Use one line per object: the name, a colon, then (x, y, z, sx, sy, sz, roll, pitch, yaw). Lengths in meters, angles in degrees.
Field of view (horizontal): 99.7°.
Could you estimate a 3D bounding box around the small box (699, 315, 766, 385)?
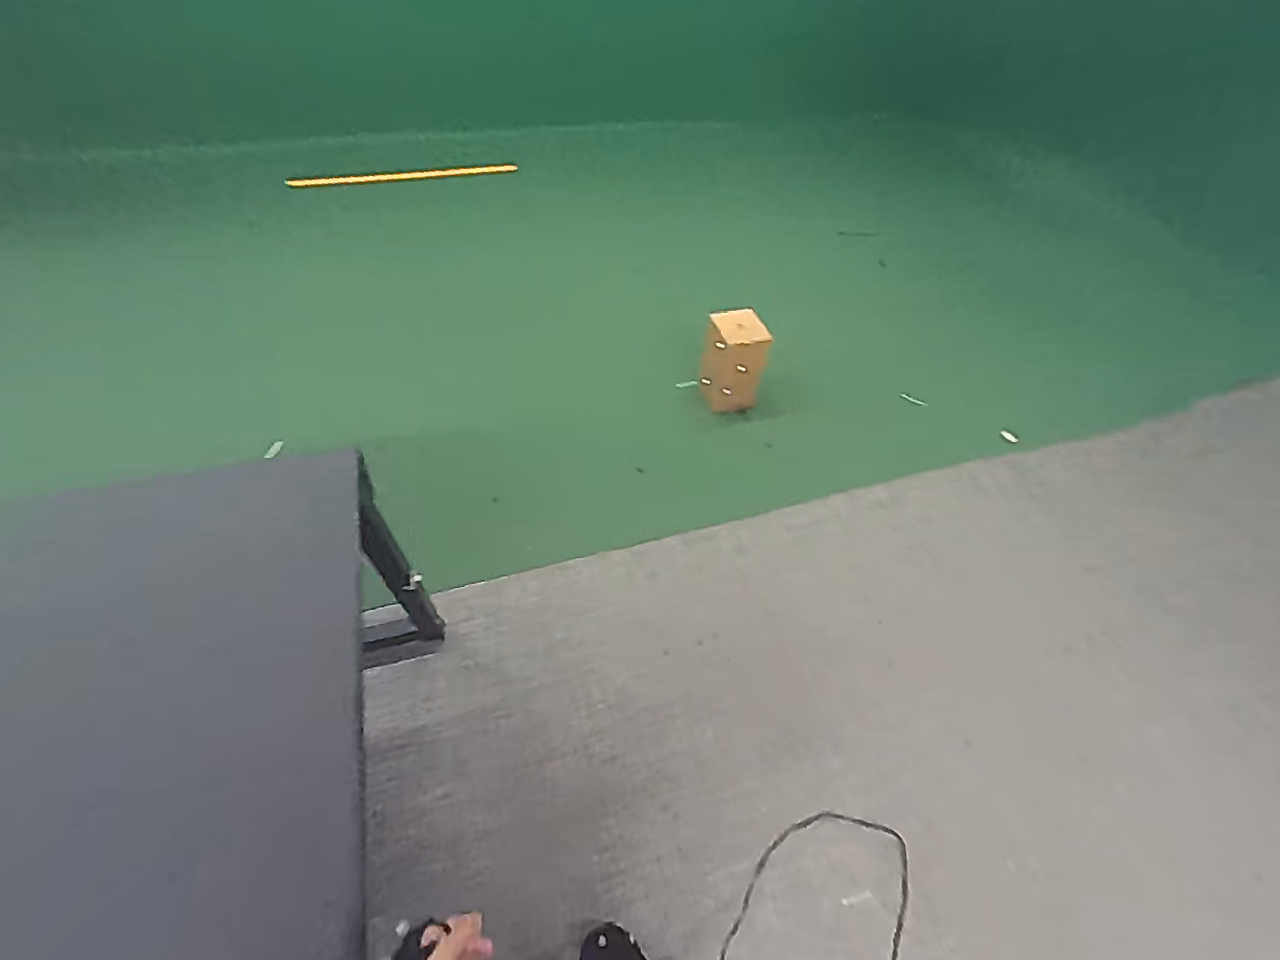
small box: (0.327, -0.470, 1.960, 0.168, 0.176, 0.179, -12, 54, -15)
